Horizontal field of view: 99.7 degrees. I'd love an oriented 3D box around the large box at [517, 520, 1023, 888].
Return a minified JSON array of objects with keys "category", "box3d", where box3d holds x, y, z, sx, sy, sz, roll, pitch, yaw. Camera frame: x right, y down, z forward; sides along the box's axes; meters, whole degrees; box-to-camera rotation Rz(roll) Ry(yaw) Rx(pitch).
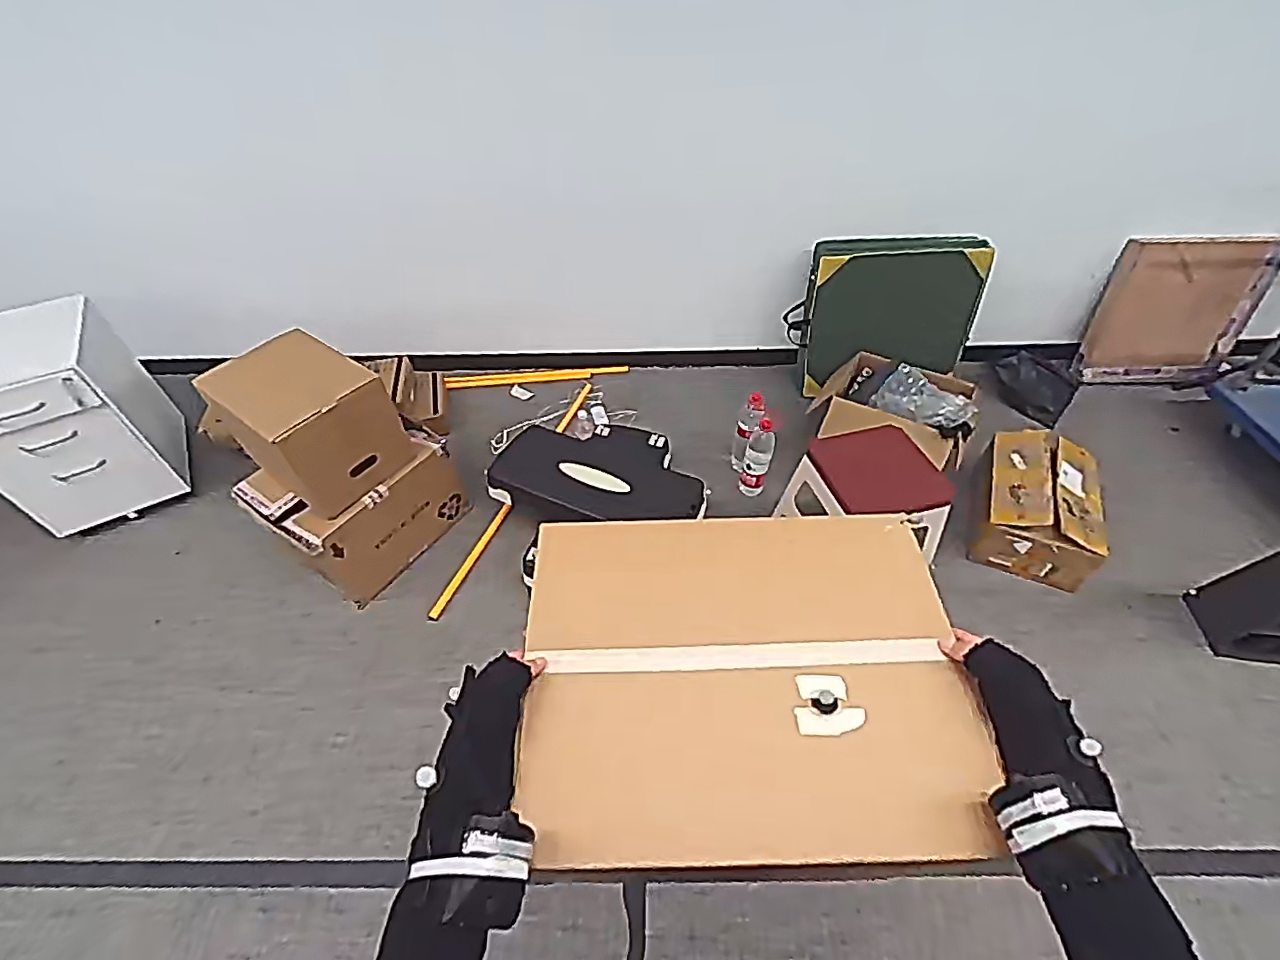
[{"category":"large box","box3d":[0.098,0.264,0.625,0.408,0.320,0.320,-1,51,0]}]
